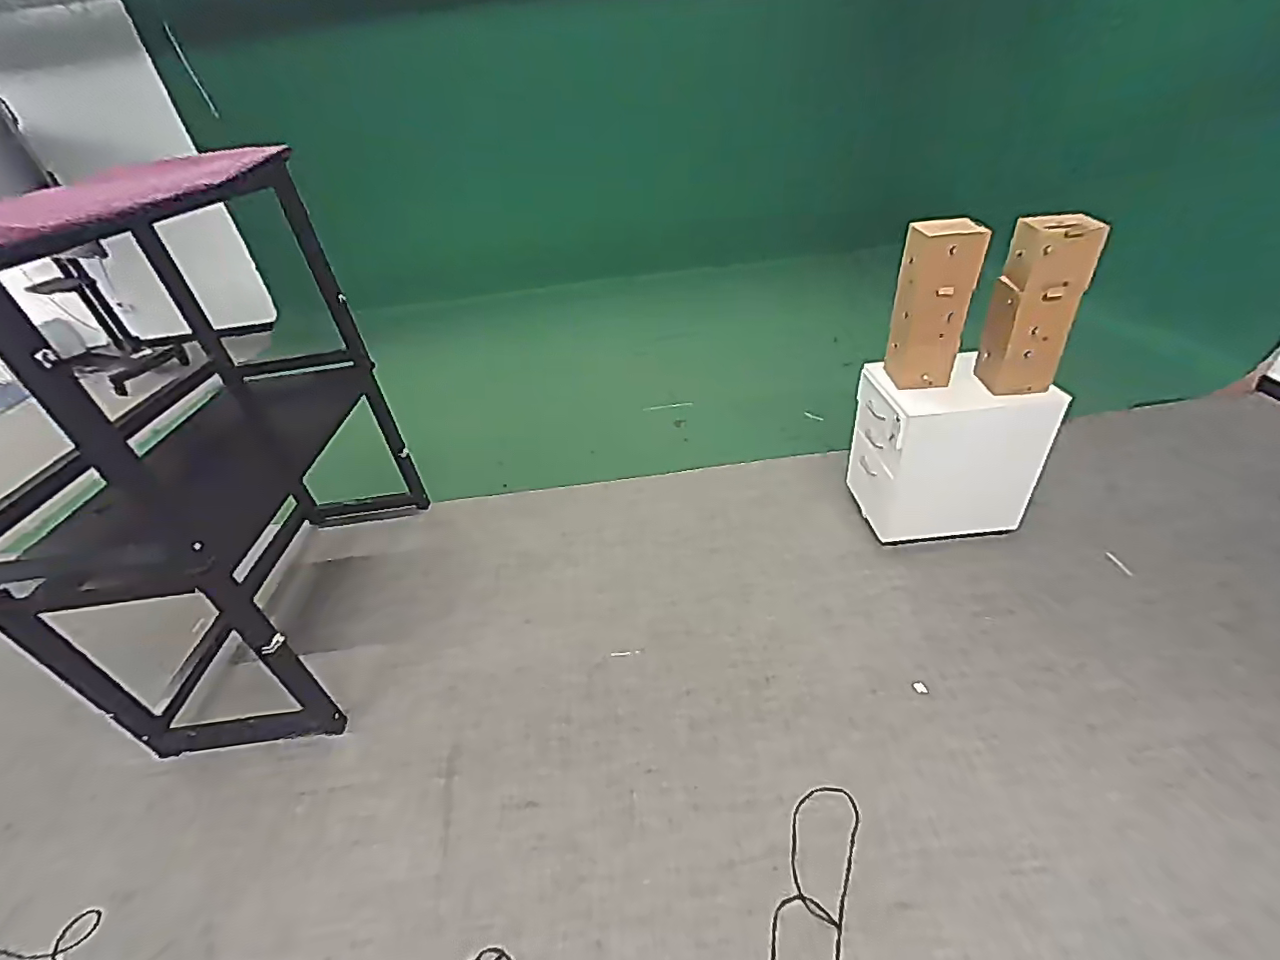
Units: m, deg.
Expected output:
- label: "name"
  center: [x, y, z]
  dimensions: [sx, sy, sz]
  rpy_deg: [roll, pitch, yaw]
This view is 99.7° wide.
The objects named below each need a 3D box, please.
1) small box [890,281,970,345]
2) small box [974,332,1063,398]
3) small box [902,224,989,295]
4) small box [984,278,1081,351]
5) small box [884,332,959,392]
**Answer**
- label: "small box"
  center: [0.943, -0.548, 1.772]
  dimensions: [0.168, 0.176, 0.179]
  rpy_deg: [-1, 36, 5]
- label: "small box"
  center: [1.228, -0.382, 1.773]
  dimensions: [0.168, 0.176, 0.179]
  rpy_deg: [-2, 36, 8]
- label: "small box"
  center: [0.931, -0.680, 1.674]
  dimensions: [0.179, 0.176, 0.168]
  rpy_deg: [-2, 38, 4]
- label: "small box"
  center: [1.207, -0.515, 1.682]
  dimensions: [0.168, 0.176, 0.179]
  rpy_deg: [-2, 37, 7]
- label: "small box"
  center: [0.962, -0.417, 1.865]
  dimensions: [0.168, 0.176, 0.179]
  rpy_deg: [-2, 38, 6]
